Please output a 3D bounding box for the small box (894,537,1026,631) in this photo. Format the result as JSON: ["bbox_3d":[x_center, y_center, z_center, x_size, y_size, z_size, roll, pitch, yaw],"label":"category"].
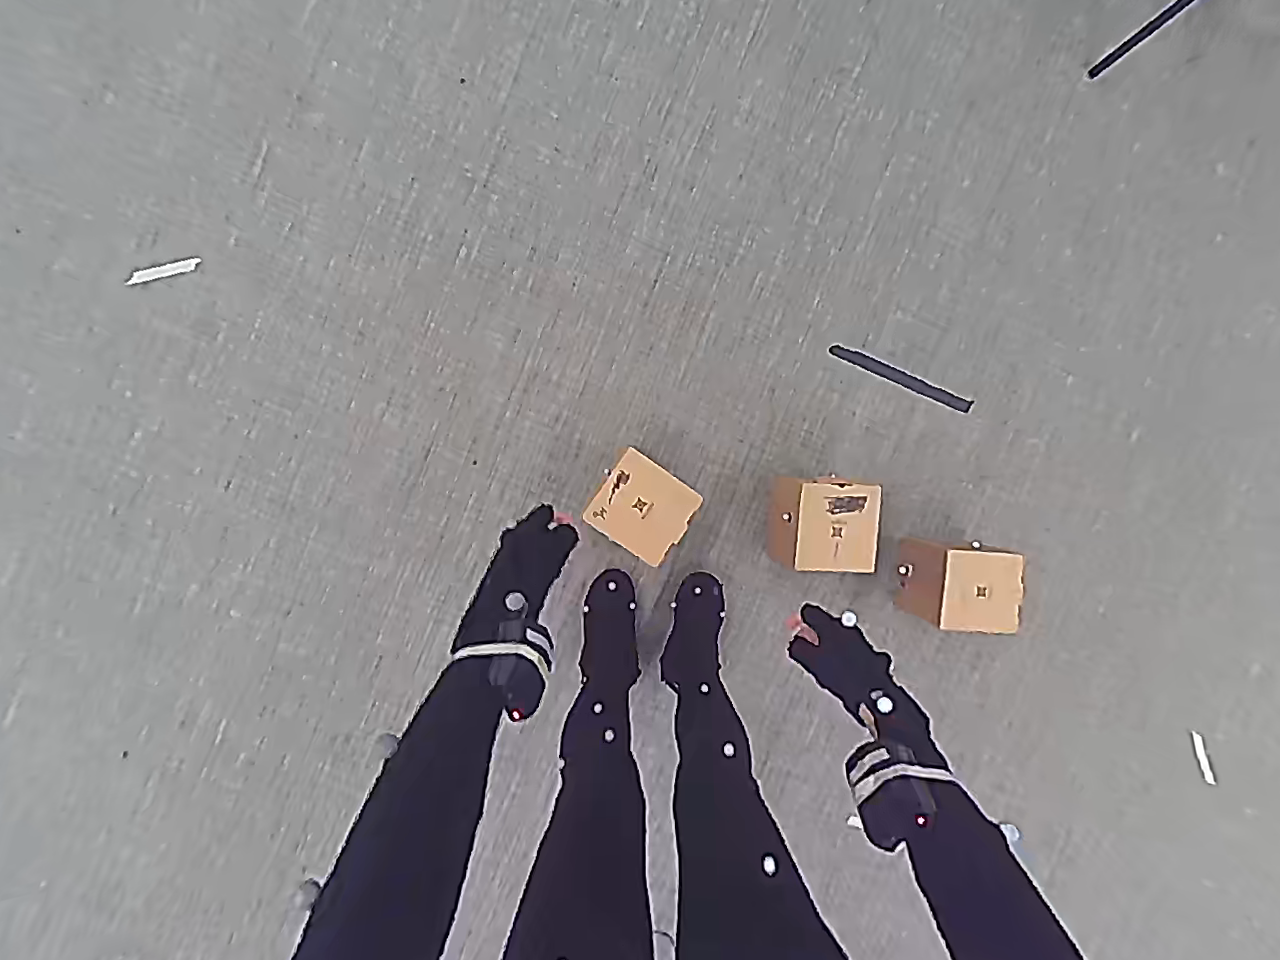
[{"bbox_3d":[0.684,0.219,1.171,0.179,0.176,0.168,4,92,-5],"label":"small box"}]

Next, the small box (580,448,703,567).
[{"bbox_3d":[-0.003,0.048,1.091,0.179,0.176,0.168,35,88,-6],"label":"small box"}]

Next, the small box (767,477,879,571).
[{"bbox_3d":[0.374,0.085,1.130,0.168,0.176,0.179,3,93,-6],"label":"small box"}]
